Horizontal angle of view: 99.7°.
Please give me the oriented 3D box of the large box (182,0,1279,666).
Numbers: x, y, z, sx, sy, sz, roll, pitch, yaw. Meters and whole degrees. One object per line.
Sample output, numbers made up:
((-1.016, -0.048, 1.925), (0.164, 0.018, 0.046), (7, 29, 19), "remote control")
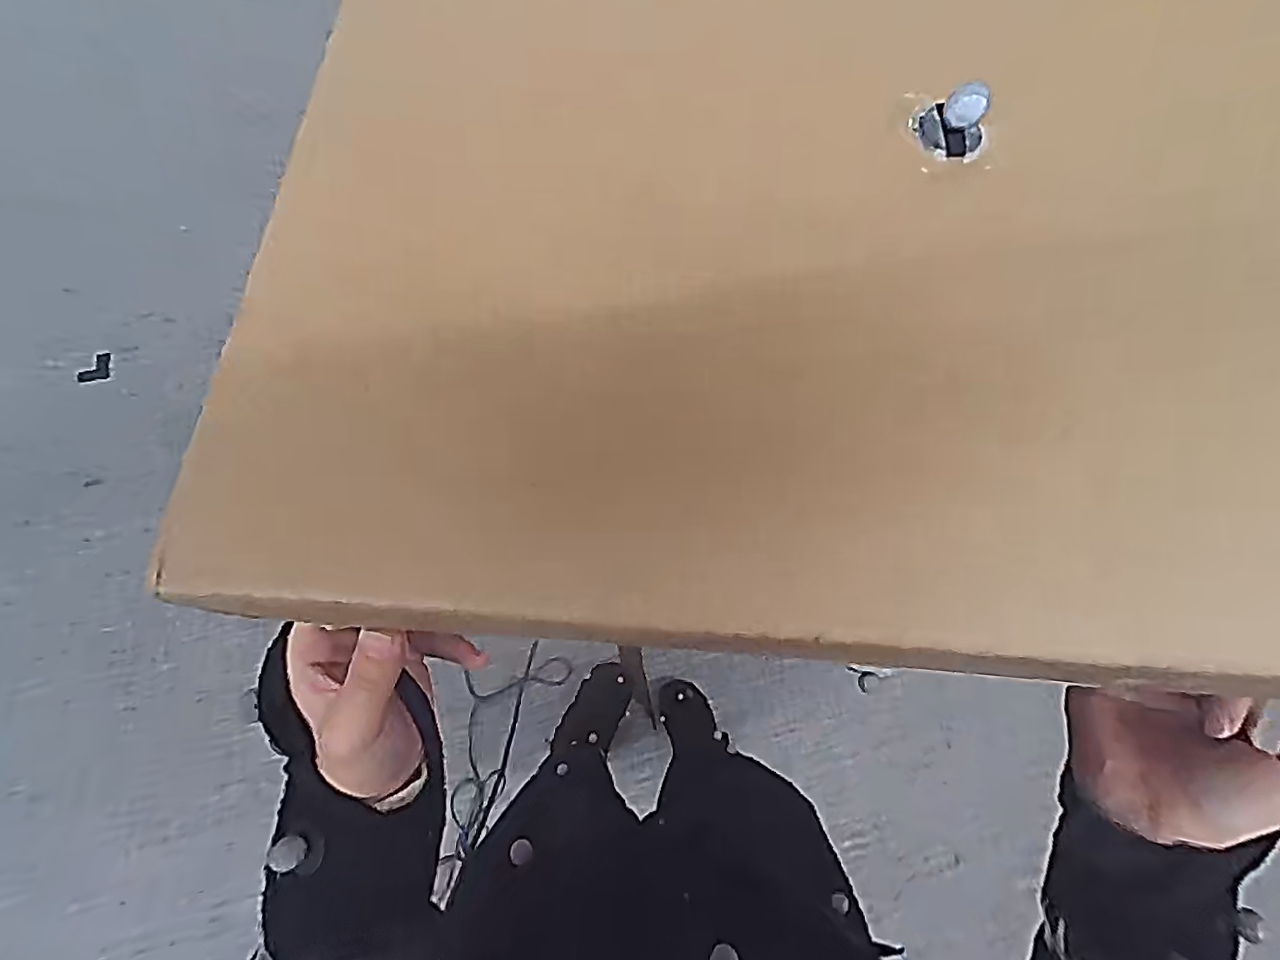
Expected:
((0.082, -0.069, 0.320), (0.408, 0.320, 0.320), (4, 74, -3), "large box")
